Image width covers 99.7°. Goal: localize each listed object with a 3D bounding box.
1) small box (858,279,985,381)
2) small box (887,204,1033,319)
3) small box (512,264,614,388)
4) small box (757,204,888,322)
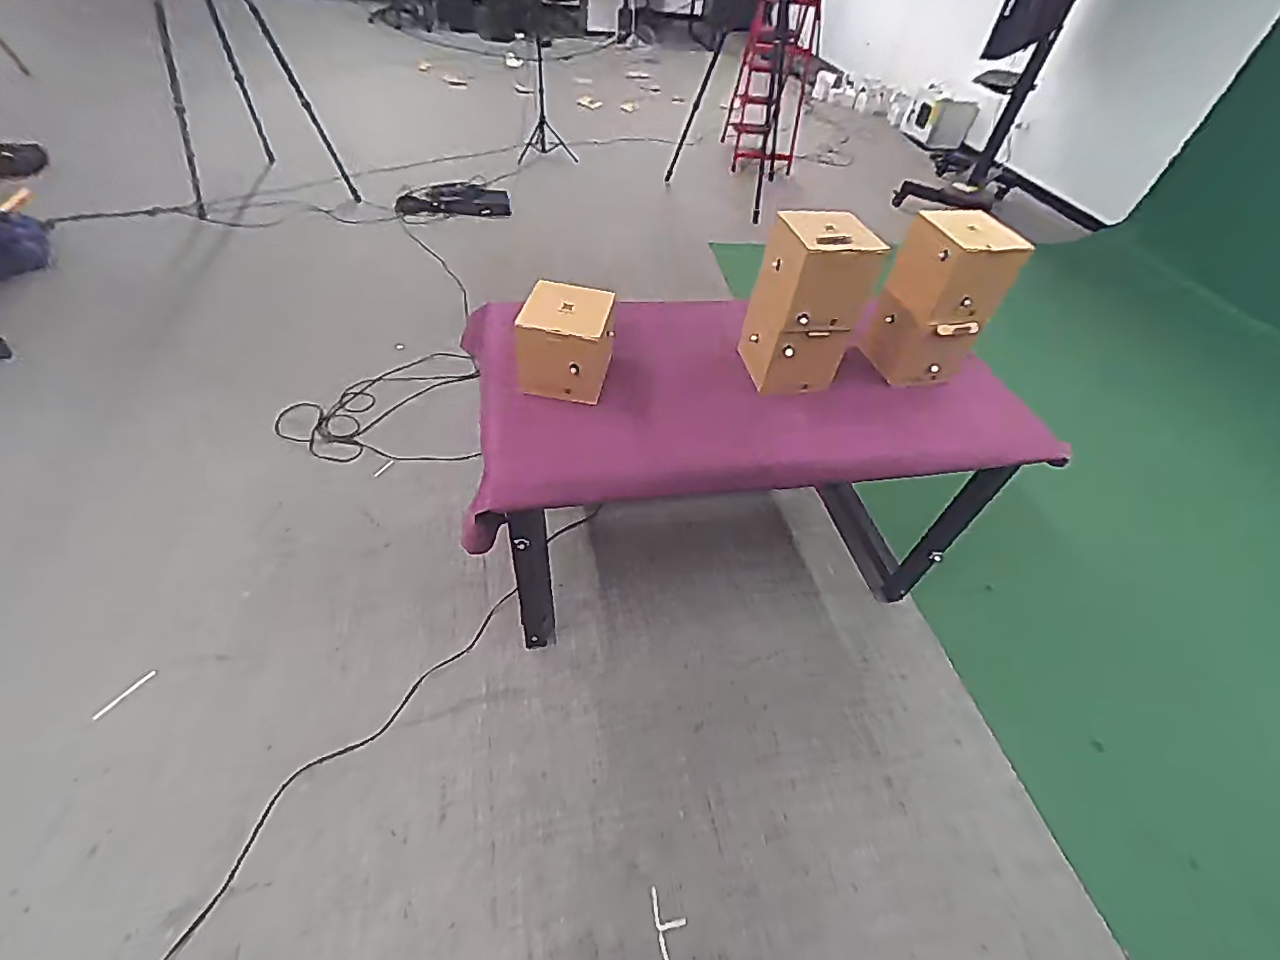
[{"bbox_3d":[0.648,-0.355,1.273,0.168,0.176,0.179,-7,51,-12],"label":"small box"},{"bbox_3d":[0.666,-0.464,1.153,0.168,0.176,0.179,-6,51,-13],"label":"small box"},{"bbox_3d":[-0.151,-0.312,1.109,0.168,0.176,0.179,11,49,1],"label":"small box"},{"bbox_3d":[0.352,-0.430,1.080,0.168,0.176,0.179,-4,49,-11],"label":"small box"}]
